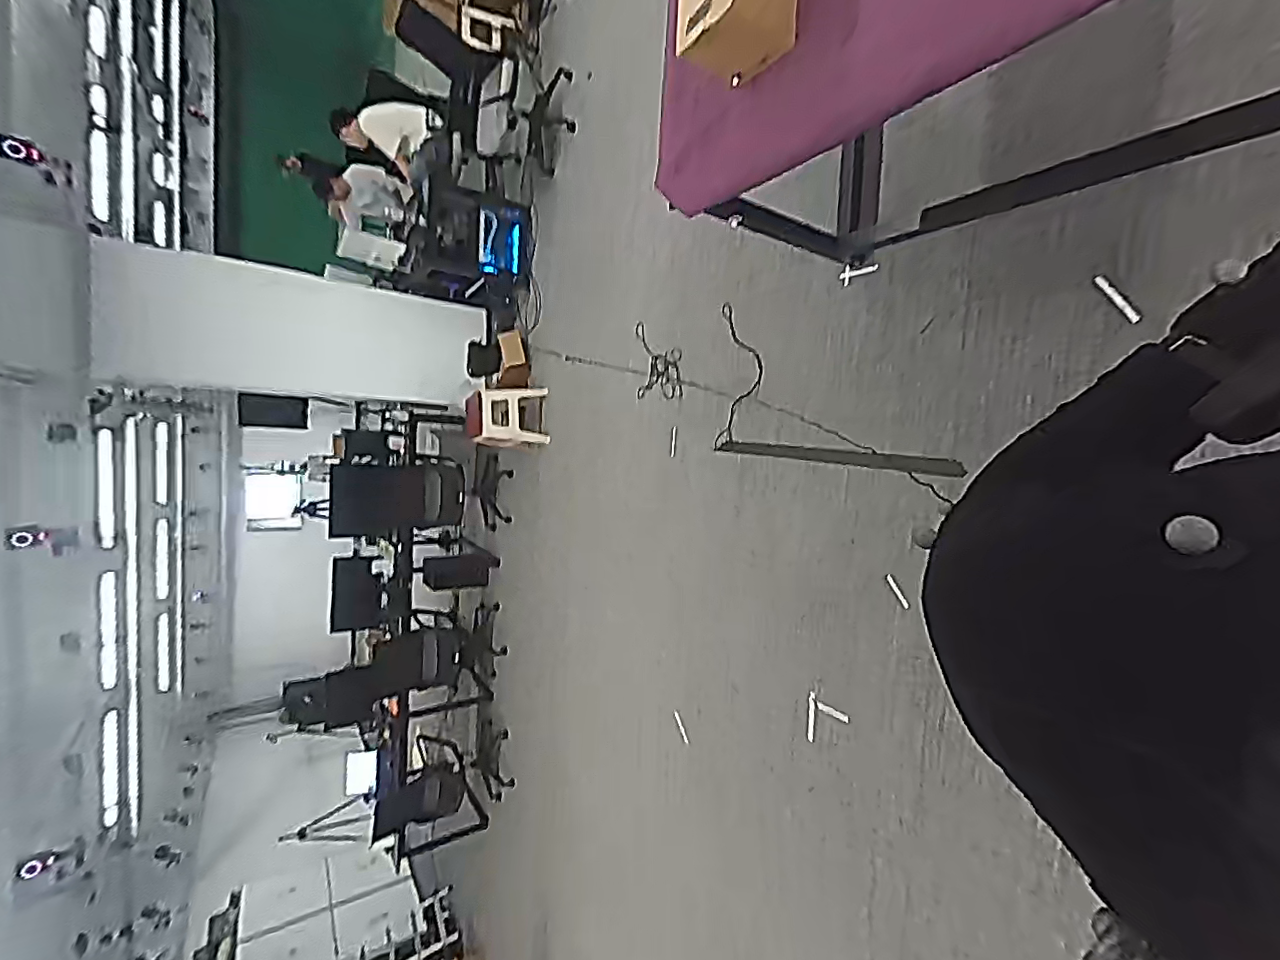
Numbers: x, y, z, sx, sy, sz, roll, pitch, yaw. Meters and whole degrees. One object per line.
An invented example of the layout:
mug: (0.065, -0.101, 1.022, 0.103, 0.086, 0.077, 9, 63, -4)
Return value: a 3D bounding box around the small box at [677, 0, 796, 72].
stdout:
small box: (0.191, -0.940, 1.051, 0.168, 0.176, 0.179, 10, 98, 55)
